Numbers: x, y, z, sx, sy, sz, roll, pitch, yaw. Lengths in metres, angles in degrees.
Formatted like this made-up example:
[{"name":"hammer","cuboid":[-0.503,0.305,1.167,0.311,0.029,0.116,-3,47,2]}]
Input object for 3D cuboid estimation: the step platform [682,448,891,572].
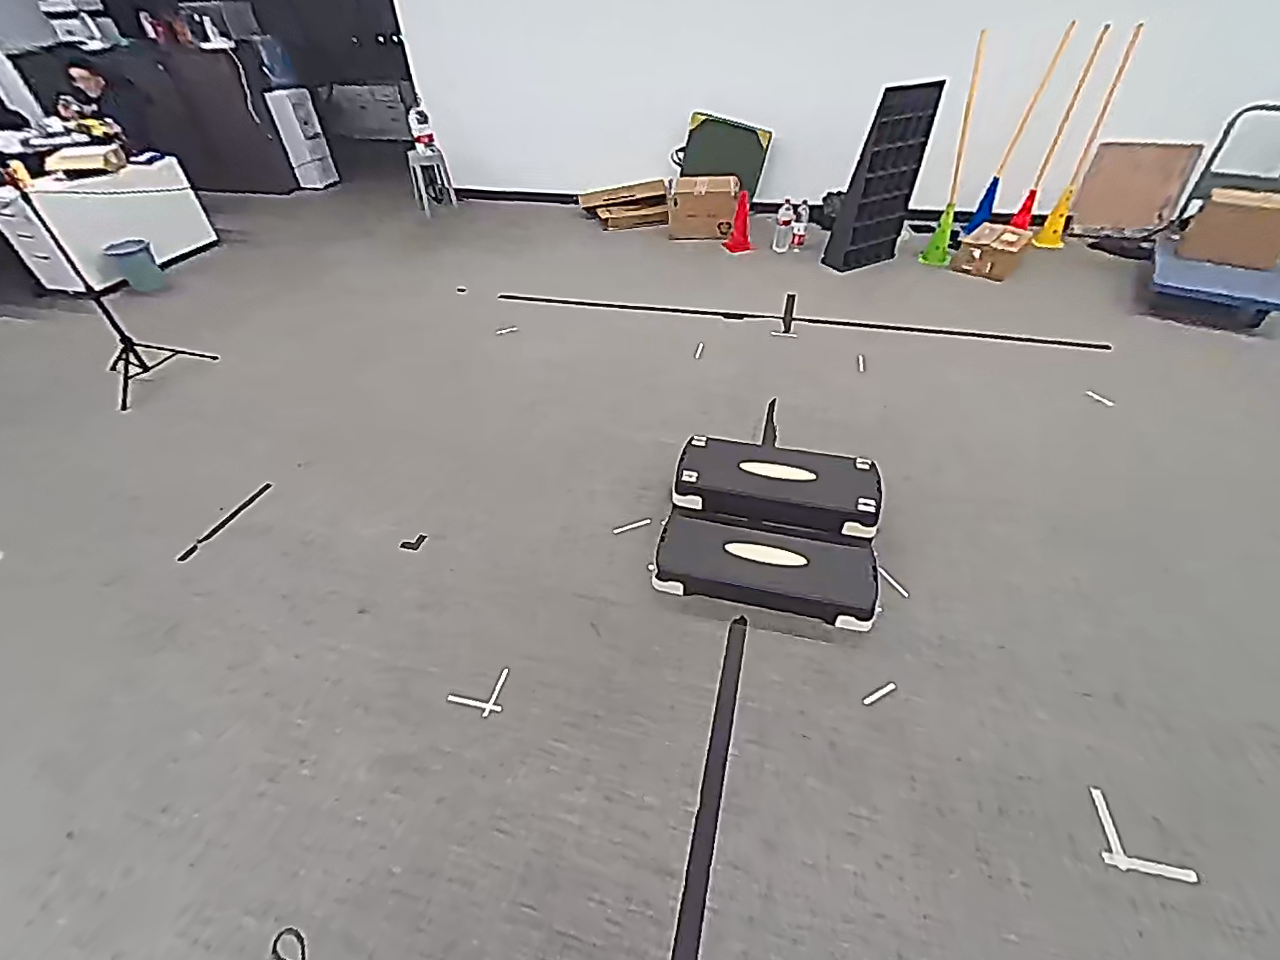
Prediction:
[{"name":"step platform","cuboid":[0.493,0.088,1.869,0.684,0.204,0.286,12,43,15]}]
